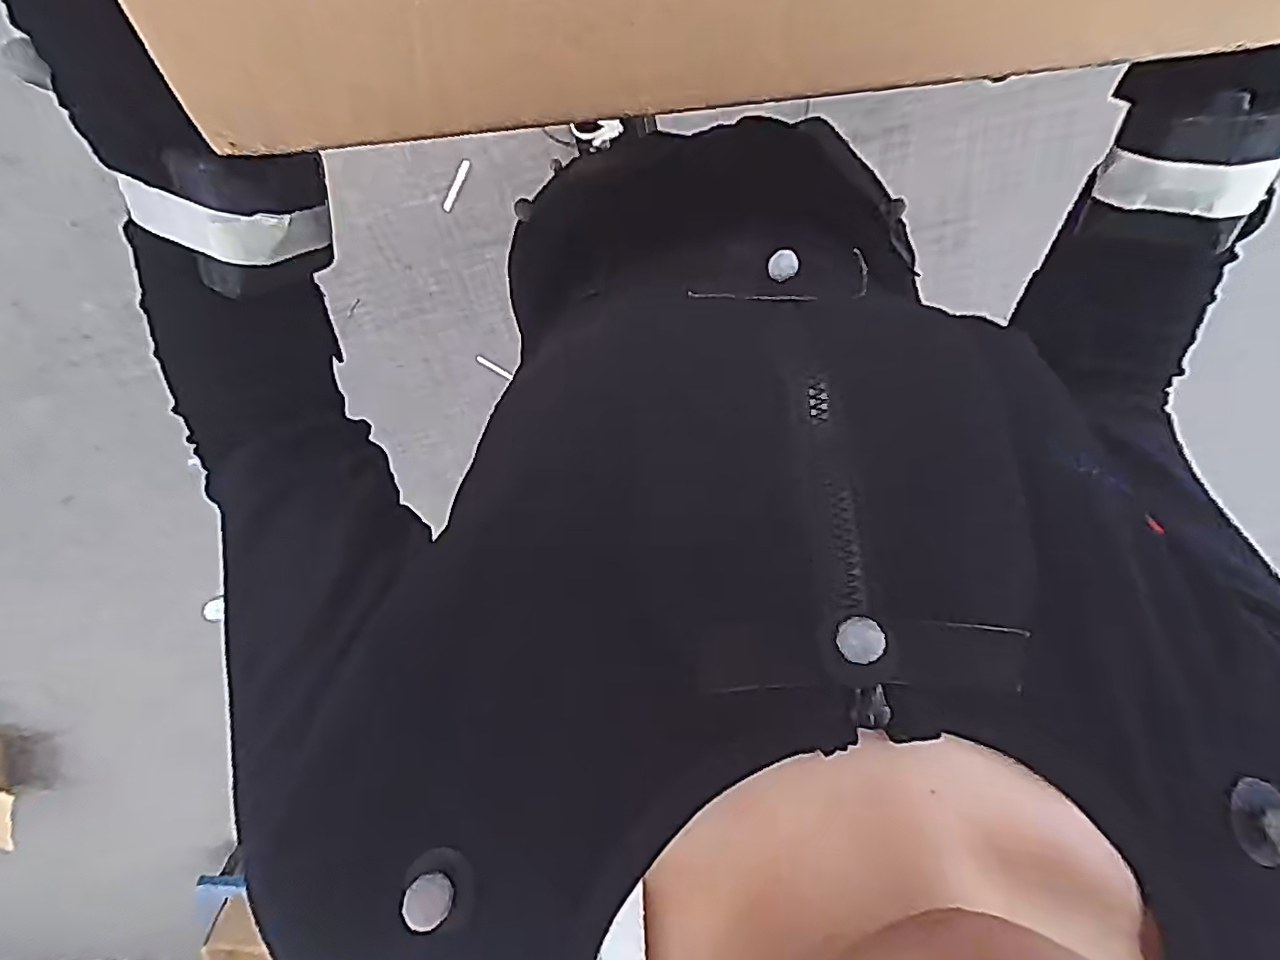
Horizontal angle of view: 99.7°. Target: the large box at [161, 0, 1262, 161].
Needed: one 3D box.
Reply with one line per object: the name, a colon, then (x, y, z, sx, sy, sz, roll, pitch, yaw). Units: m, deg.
large box: (0.019, -0.361, 0.197, 0.408, 0.320, 0.320, -6, 138, 0)
